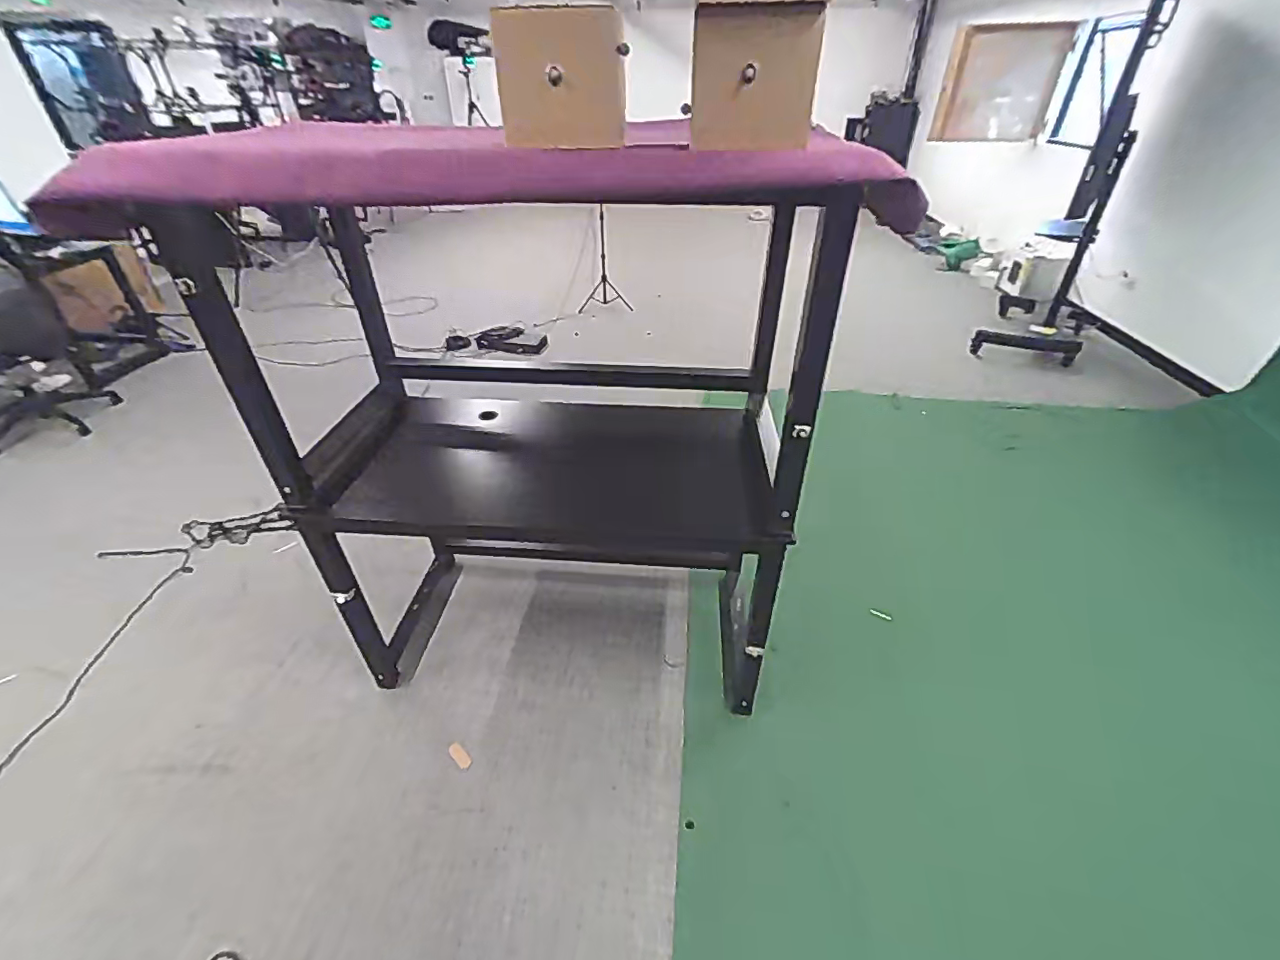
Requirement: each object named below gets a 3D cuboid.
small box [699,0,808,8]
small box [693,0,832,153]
[{"bbox_3d":[0.171,-0.721,0.701,0.179,0.176,0.168,2,36,5],"label":"small box"},{"bbox_3d":[0.173,-0.601,0.815,0.179,0.176,0.168,2,36,6],"label":"small box"}]
